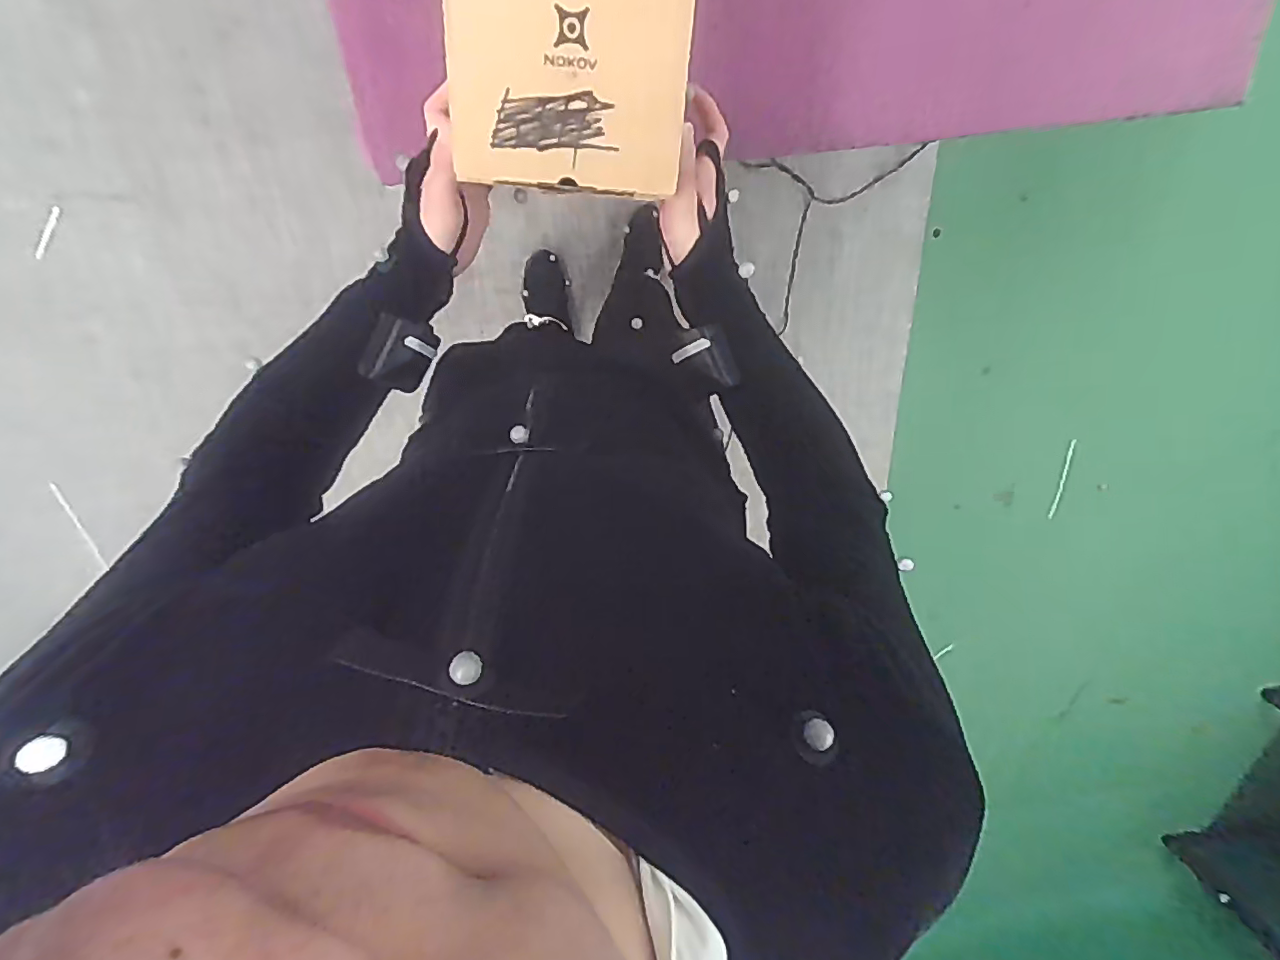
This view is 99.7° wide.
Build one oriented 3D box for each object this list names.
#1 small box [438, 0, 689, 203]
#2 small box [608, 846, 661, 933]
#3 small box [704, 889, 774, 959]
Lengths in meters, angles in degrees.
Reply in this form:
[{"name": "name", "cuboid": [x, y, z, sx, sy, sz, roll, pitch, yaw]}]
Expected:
[{"name": "small box", "cuboid": [-0.056, -0.328, 0.435, 0.168, 0.176, 0.179, 2, 117, -5]}, {"name": "small box", "cuboid": [-0.021, 1.371, 1.814, 0.168, 0.176, 0.179, -2, 114, -5]}, {"name": "small box", "cuboid": [0.302, 1.423, 1.690, 0.168, 0.176, 0.179, 0, 115, -7]}]
